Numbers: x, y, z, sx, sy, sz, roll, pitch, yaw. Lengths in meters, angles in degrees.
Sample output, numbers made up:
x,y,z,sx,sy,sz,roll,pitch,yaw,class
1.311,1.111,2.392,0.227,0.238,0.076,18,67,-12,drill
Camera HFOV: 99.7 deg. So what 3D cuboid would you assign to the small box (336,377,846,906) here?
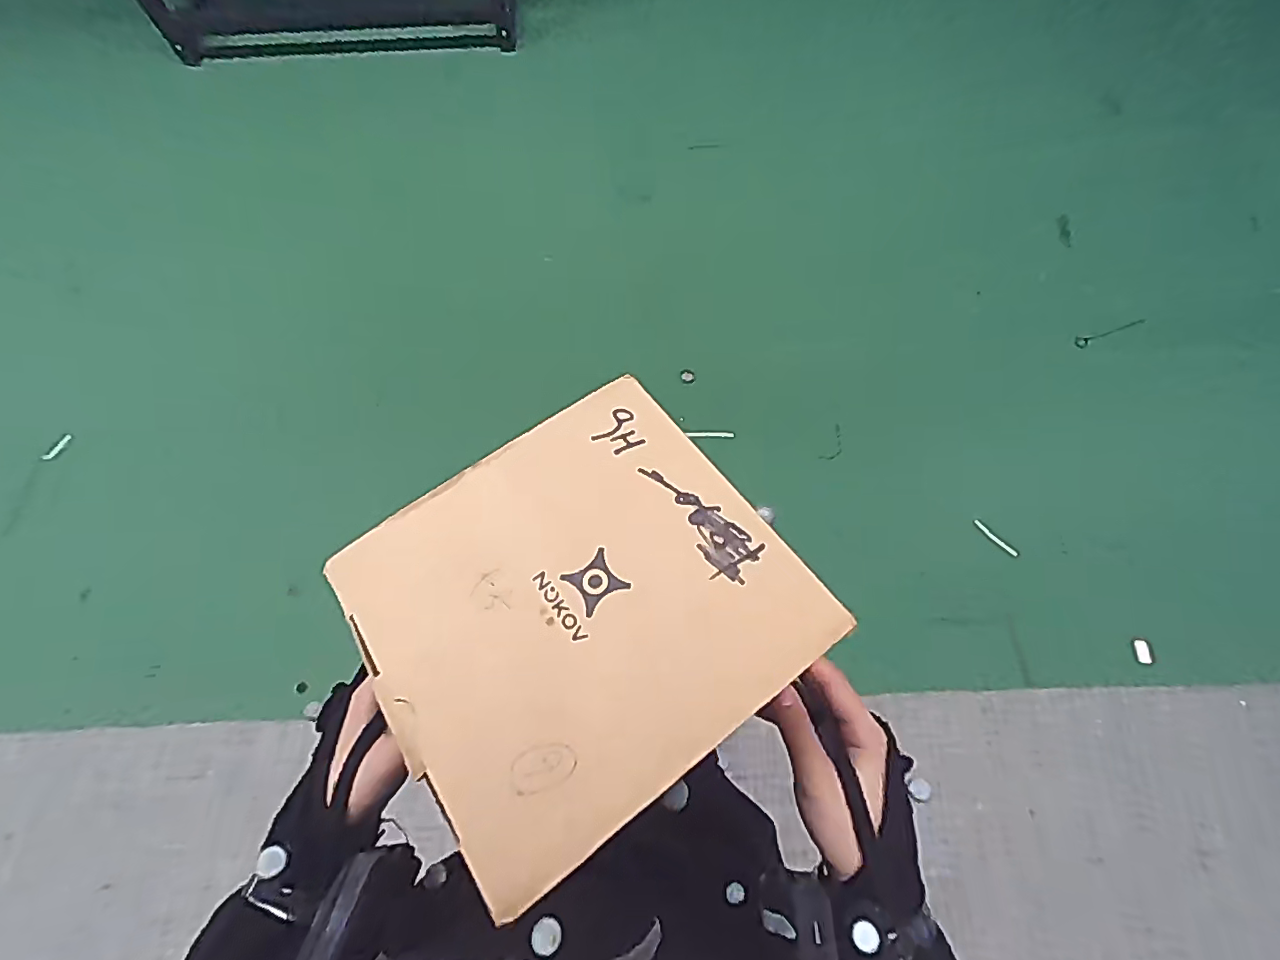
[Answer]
x,y,z,sx,sy,sz,roll,pitch,yaw,class
-0.022,0.084,0.310,0.179,0.176,0.168,-34,67,-13,small box
